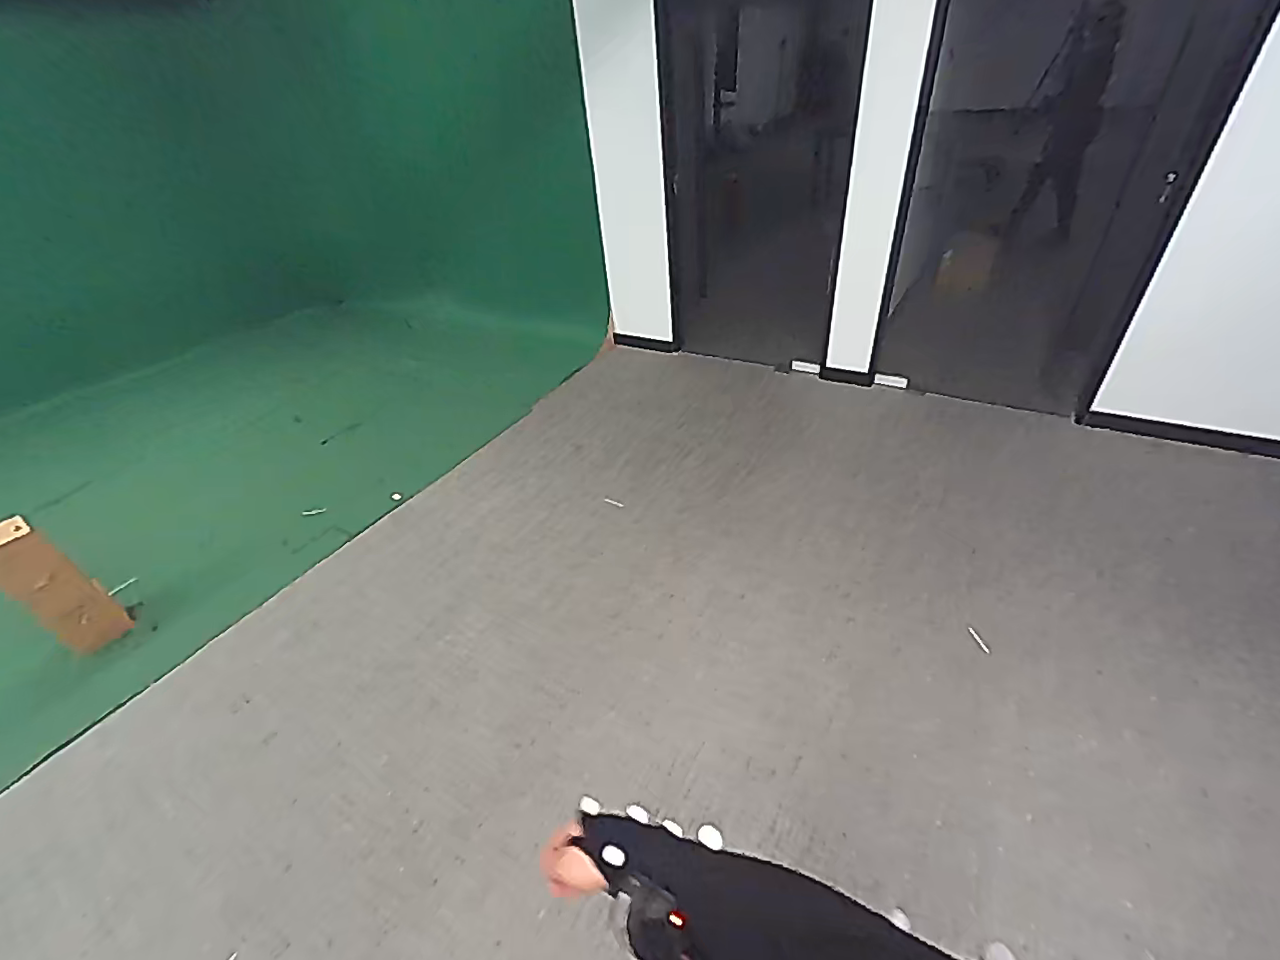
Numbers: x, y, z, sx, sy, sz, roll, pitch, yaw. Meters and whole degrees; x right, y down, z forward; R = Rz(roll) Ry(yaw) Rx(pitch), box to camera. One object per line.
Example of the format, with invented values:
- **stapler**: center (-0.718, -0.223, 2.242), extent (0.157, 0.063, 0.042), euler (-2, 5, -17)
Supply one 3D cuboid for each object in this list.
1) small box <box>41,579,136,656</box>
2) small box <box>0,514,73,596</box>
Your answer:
- **small box**: center (-2.002, 0.501, 1.975), extent (0.168, 0.176, 0.179), euler (21, 45, 30)
- **small box**: center (-2.038, 0.248, 1.769), extent (0.168, 0.176, 0.179), euler (19, 45, 30)
